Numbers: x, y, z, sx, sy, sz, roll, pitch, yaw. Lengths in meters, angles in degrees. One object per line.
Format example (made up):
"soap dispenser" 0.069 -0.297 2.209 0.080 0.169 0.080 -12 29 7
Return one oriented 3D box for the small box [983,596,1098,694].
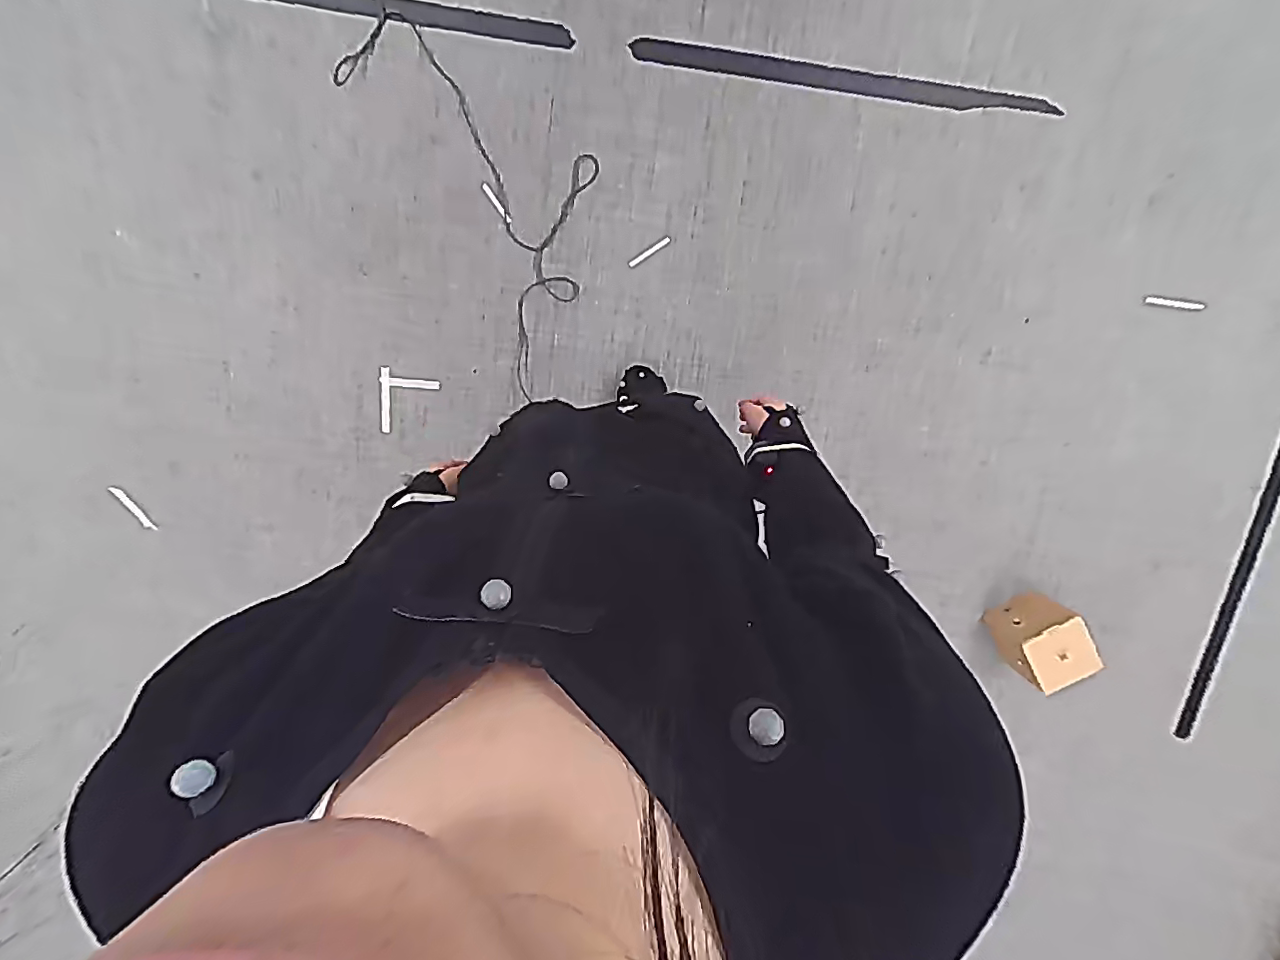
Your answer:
"small box" 1.099 0.445 1.498 0.168 0.176 0.179 -30 101 7
